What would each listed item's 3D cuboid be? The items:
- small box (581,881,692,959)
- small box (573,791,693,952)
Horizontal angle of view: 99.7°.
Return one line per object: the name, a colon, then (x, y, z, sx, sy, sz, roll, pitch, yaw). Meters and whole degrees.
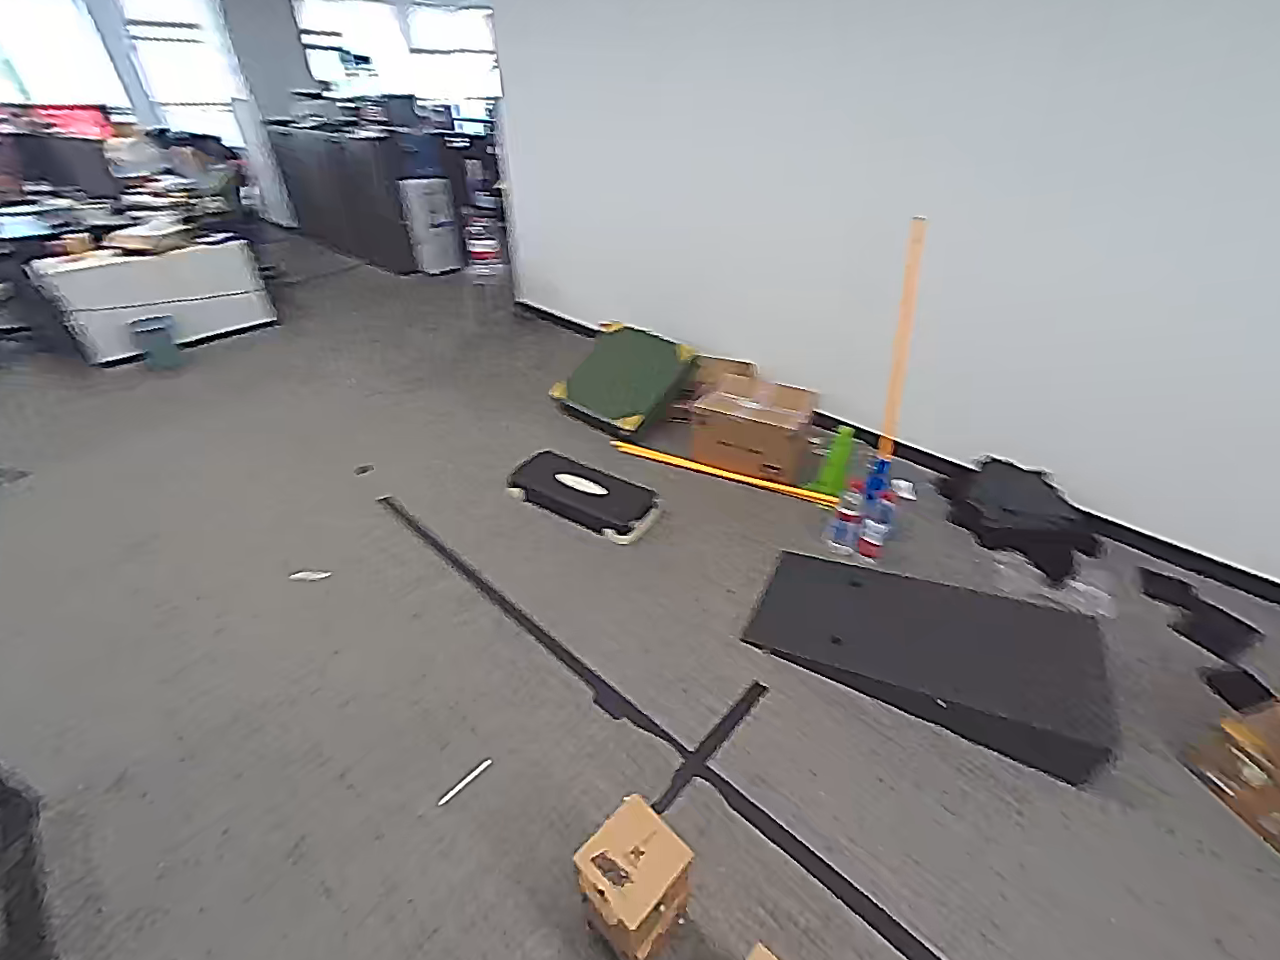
small box: (-0.008, 0.918, 1.179, 0.179, 0.176, 0.168, 29, 45, 32)
small box: (-0.014, 0.785, 1.084, 0.179, 0.176, 0.168, -29, 47, -36)
